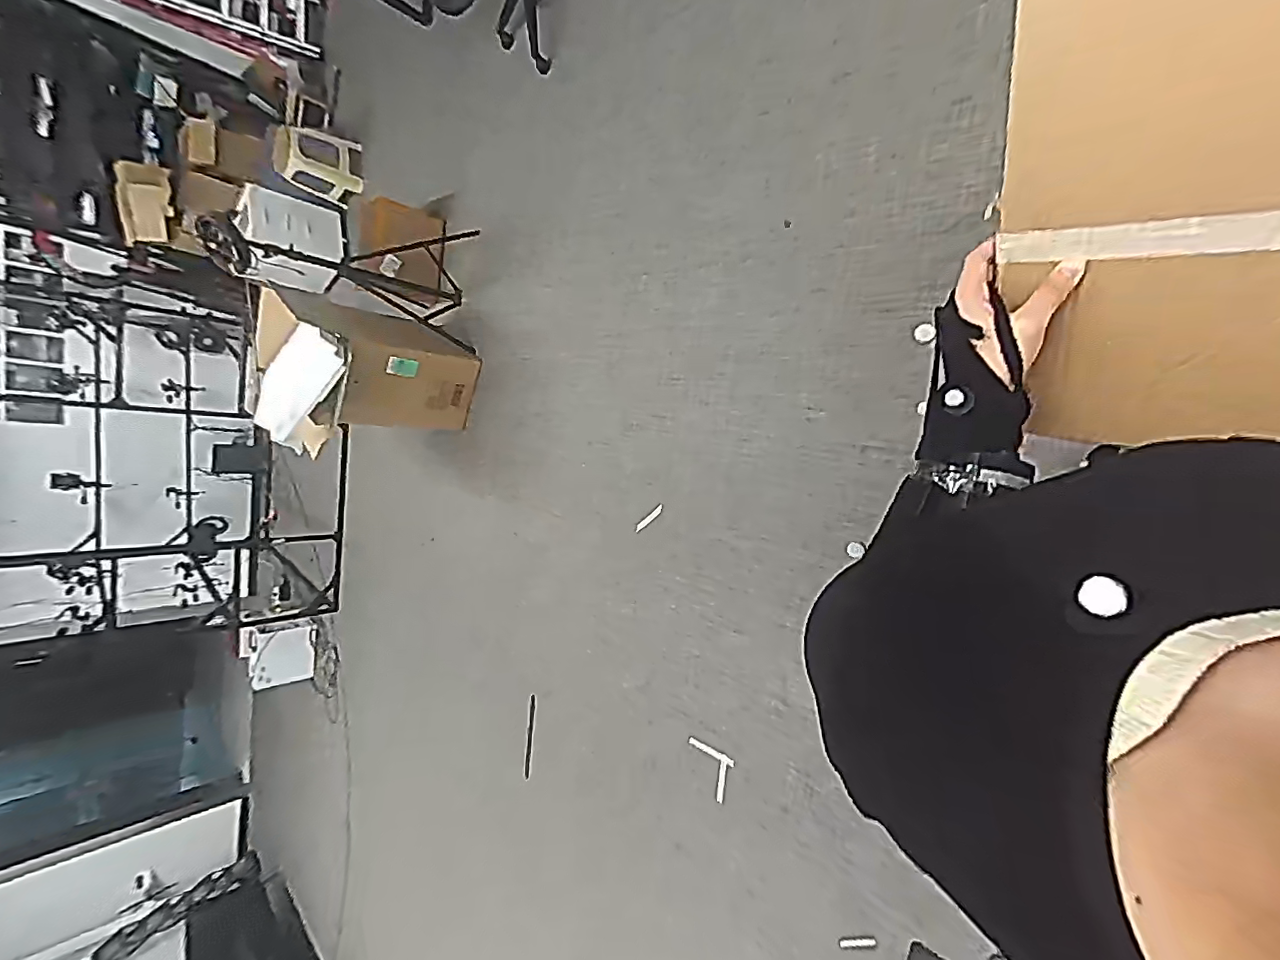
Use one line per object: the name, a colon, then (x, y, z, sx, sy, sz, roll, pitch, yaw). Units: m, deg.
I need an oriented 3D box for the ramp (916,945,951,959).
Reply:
ramp: (0.753, 1.658, 1.162, 0.509, 0.206, 0.991, 10, 96, 44)

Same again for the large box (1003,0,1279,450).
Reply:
large box: (0.509, -0.218, 0.338, 0.408, 0.320, 0.320, 17, 137, 45)
